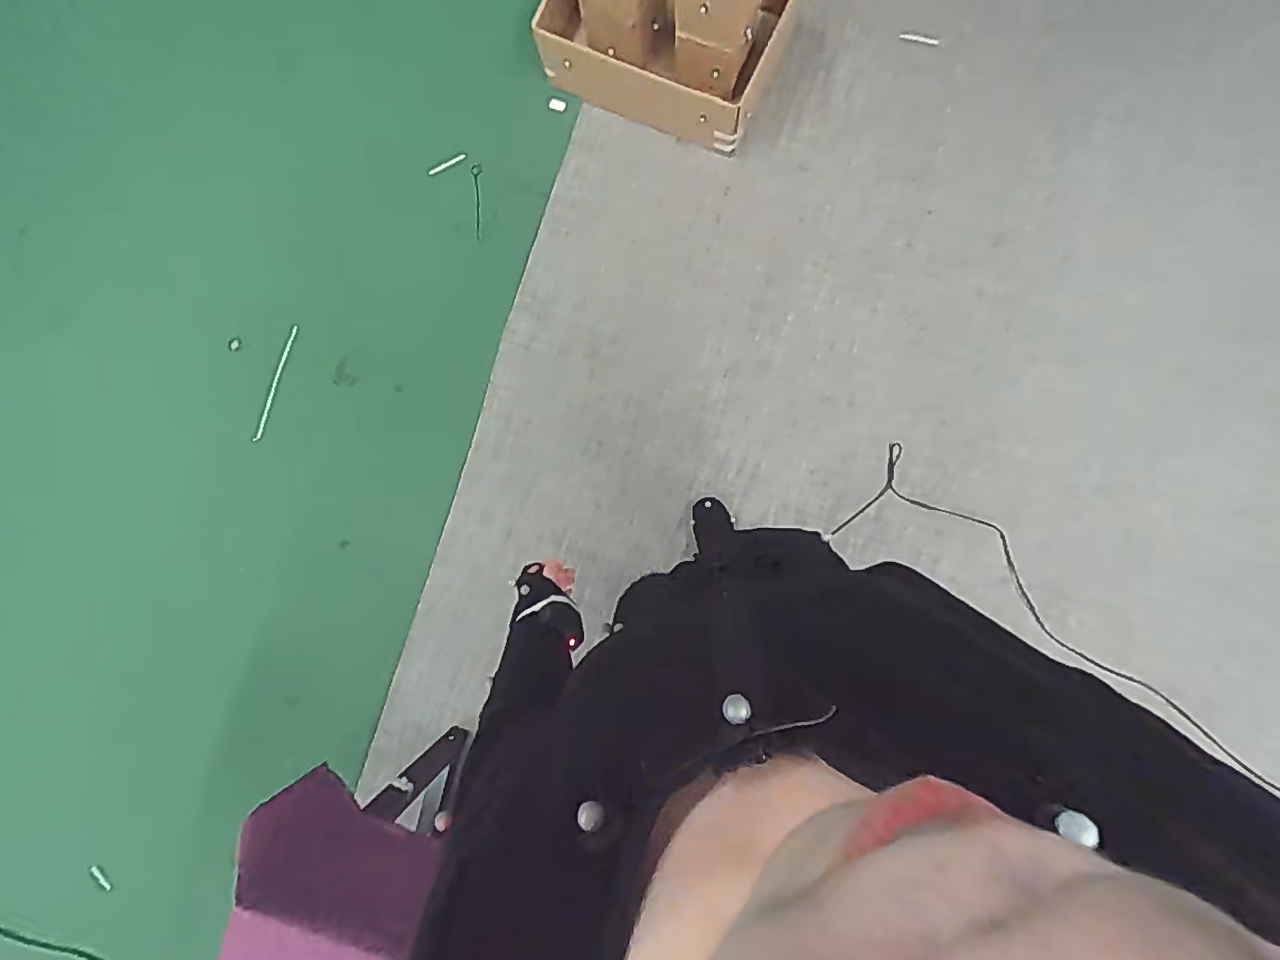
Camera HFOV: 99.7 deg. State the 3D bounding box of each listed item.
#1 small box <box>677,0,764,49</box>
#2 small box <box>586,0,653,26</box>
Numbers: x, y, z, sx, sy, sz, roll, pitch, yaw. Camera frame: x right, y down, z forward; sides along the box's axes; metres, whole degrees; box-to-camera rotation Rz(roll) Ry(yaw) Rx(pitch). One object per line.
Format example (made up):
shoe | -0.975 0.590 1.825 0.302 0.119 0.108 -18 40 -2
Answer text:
small box | 0.198 -1.174 1.275 0.179 0.176 0.168 24 90 8
small box | -0.053 -1.268 1.310 0.179 0.176 0.168 36 91 4
